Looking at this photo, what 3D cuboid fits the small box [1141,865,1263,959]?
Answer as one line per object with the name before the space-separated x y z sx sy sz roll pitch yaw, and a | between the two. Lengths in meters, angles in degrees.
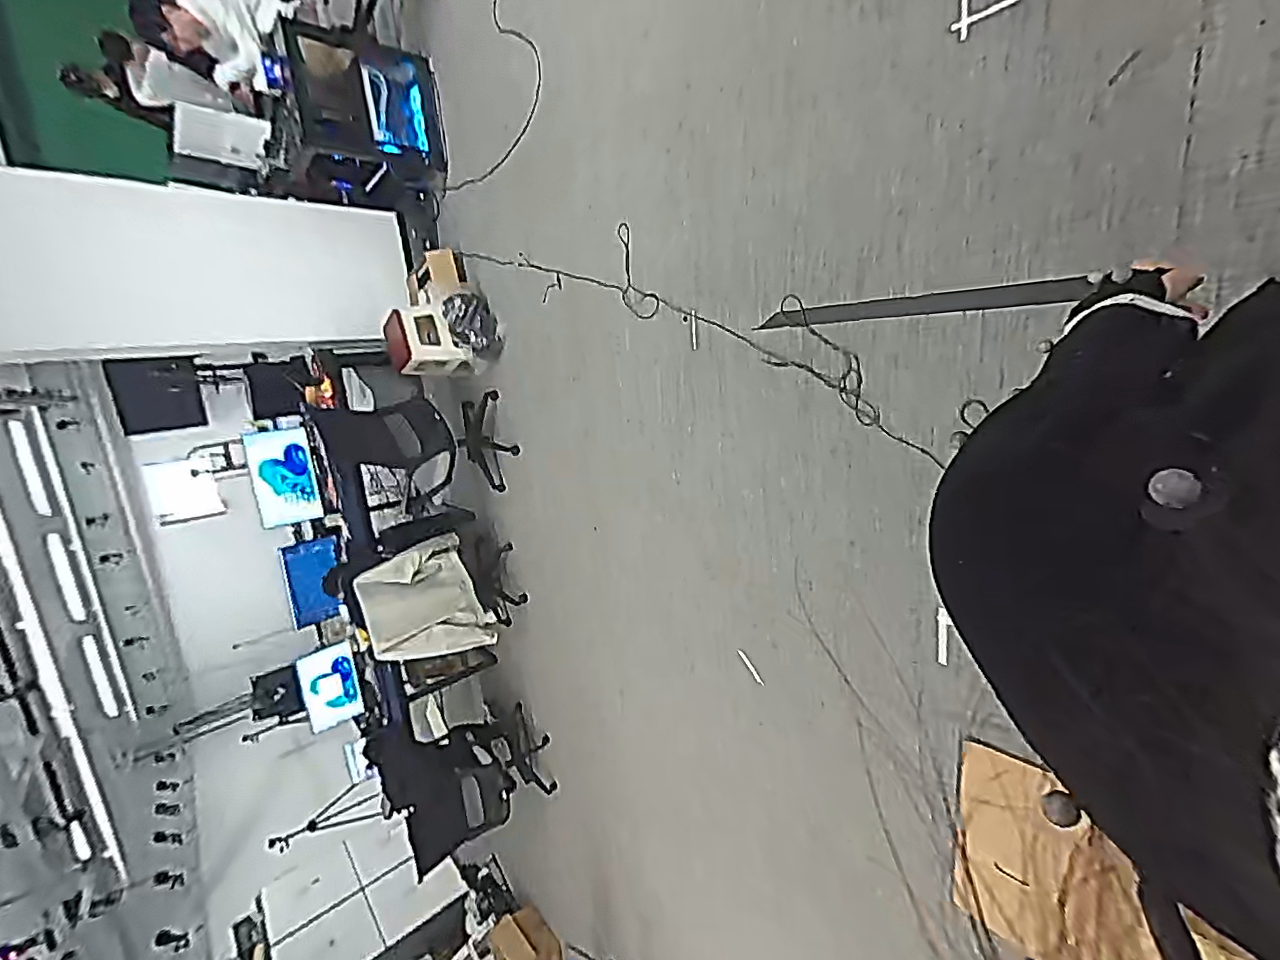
small box | 1.202 0.988 1.159 0.168 0.176 0.179 7 108 49
